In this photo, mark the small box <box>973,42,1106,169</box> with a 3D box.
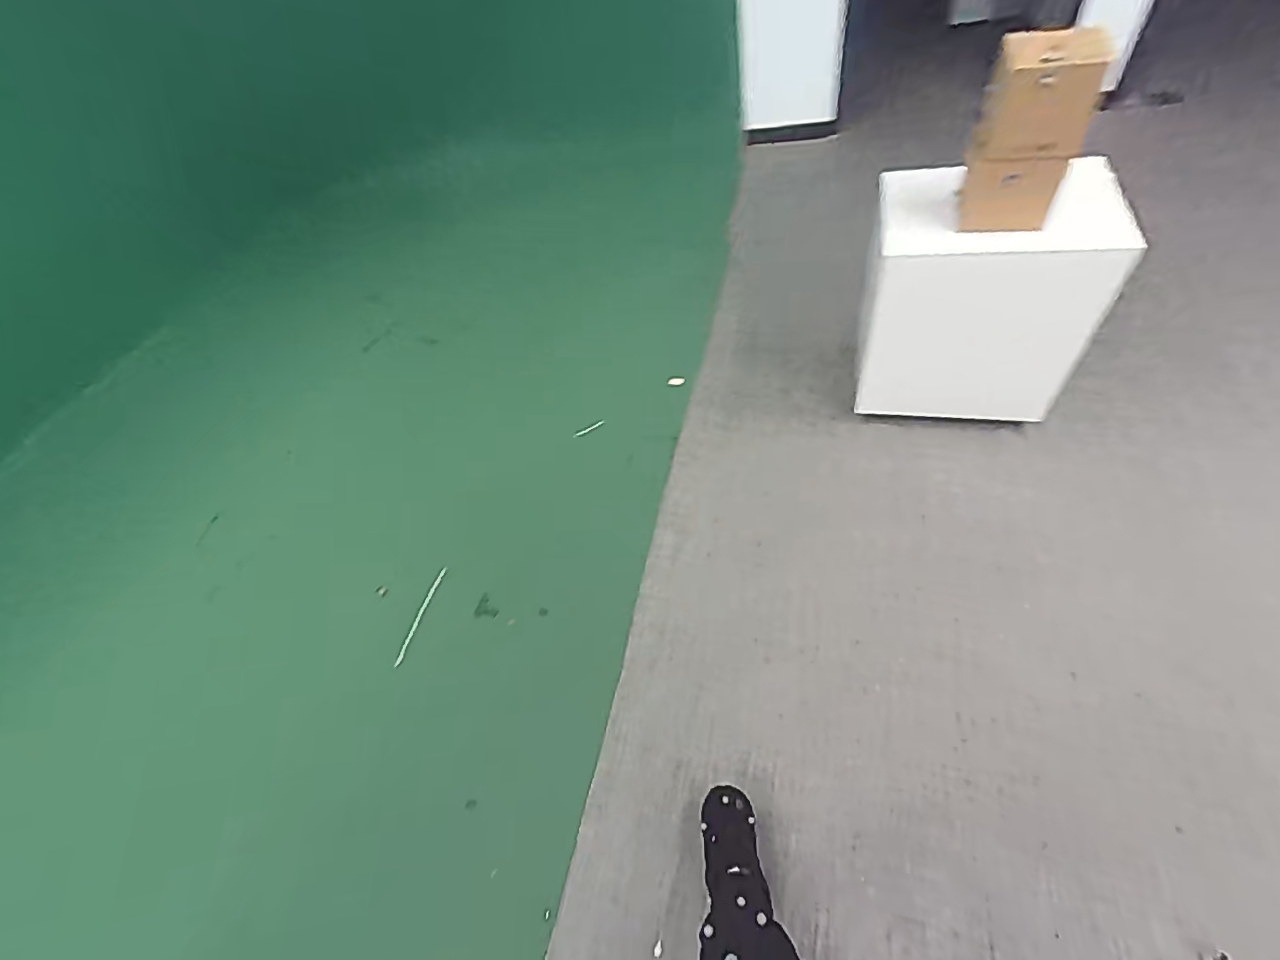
[{"bbox_3d":[0.815,-0.776,1.127,0.168,0.176,0.179,6,56,16],"label":"small box"}]

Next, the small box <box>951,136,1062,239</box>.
[{"bbox_3d":[0.837,-0.679,1.254,0.179,0.176,0.168,7,56,17],"label":"small box"}]
